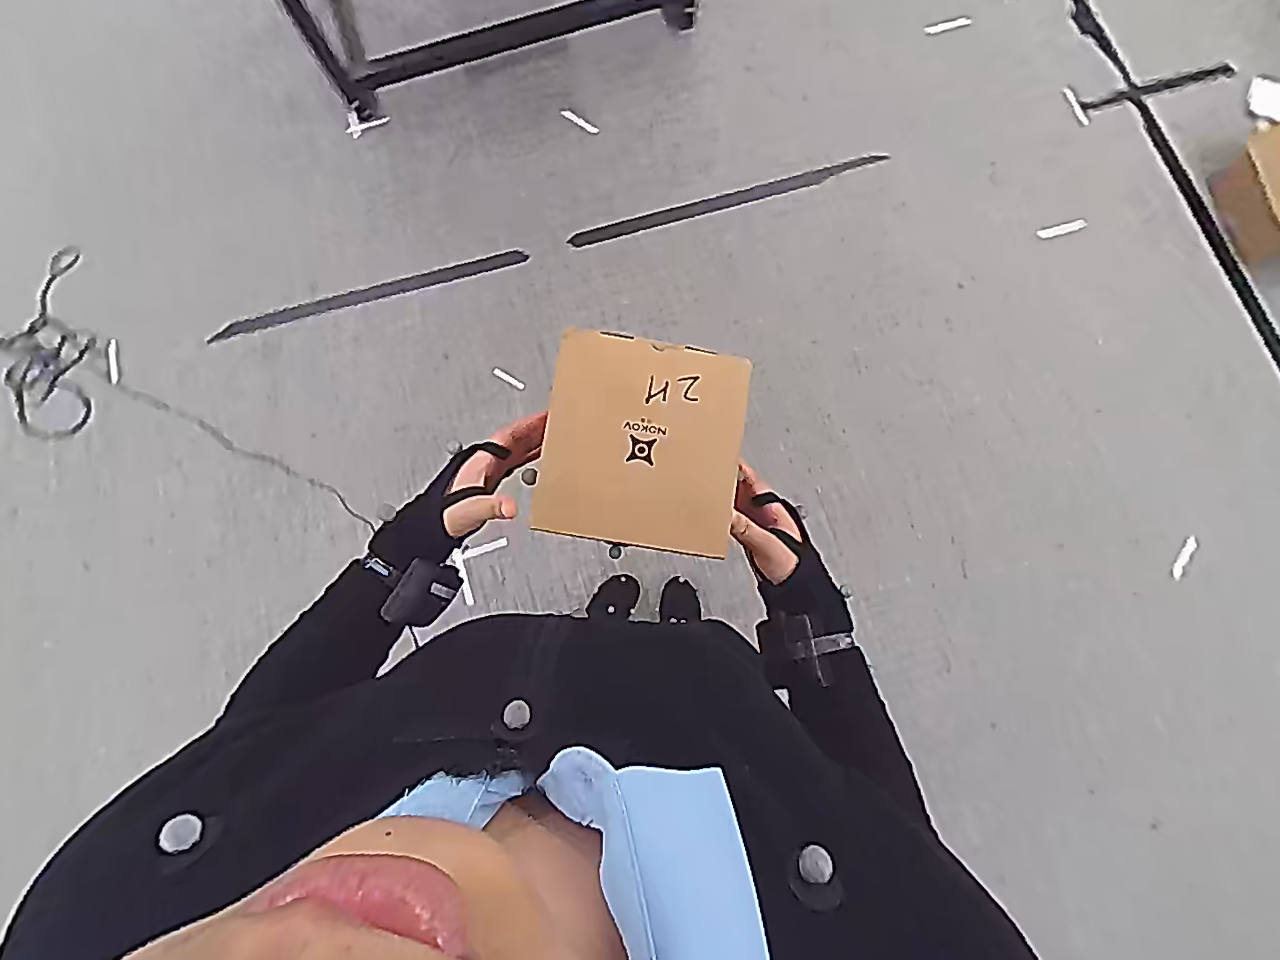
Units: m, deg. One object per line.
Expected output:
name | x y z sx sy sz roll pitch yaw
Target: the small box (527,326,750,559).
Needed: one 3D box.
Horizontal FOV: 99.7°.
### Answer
small box | -0.005 -0.023 0.526 0.168 0.176 0.179 9 82 -4
